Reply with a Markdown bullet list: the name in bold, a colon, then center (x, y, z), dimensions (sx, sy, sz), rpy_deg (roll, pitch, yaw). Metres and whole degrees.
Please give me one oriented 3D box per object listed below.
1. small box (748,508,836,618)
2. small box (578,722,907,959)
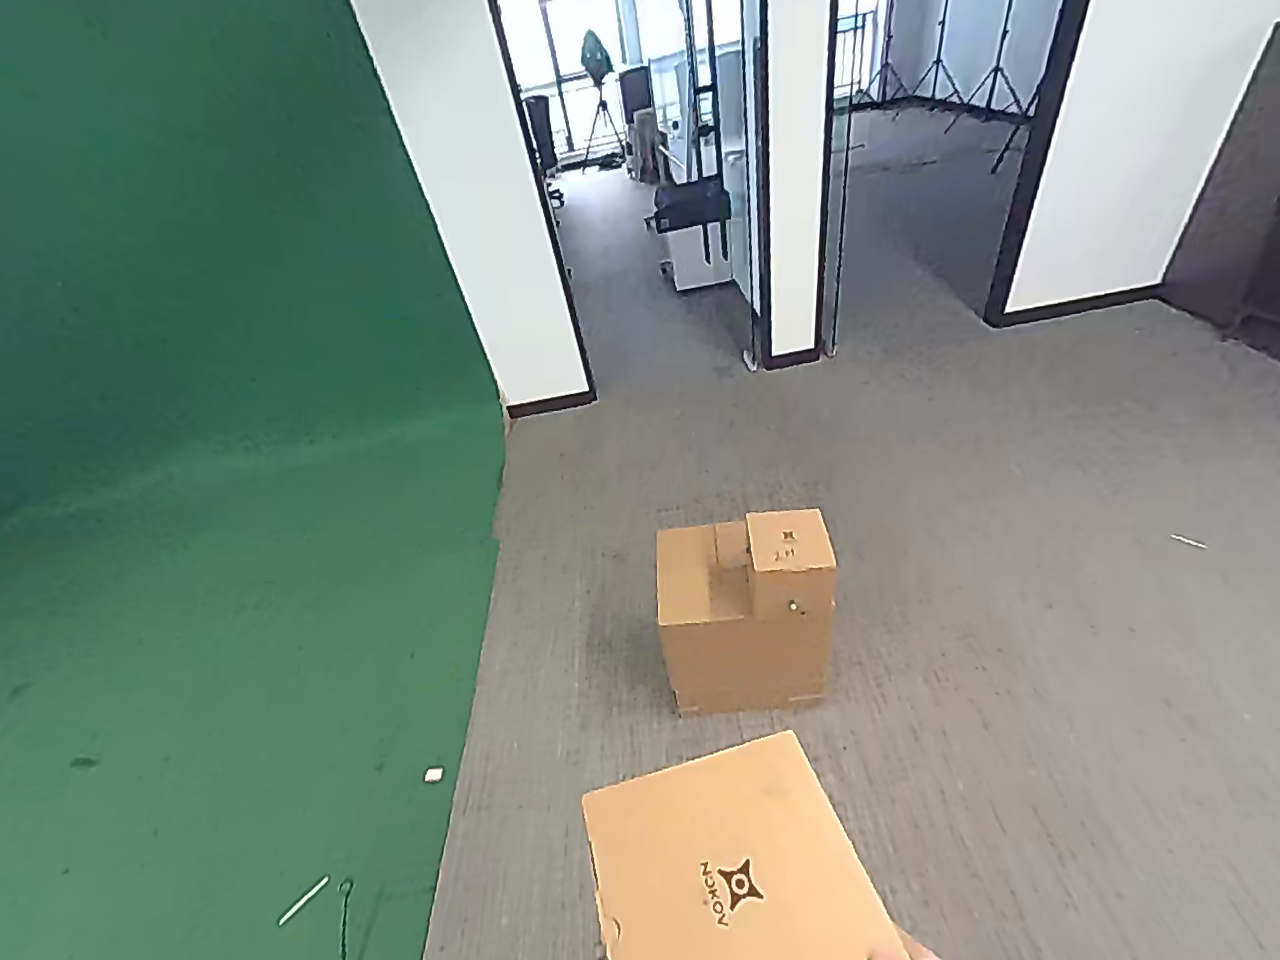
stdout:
- **small box**: center (0.330, 0.186, 1.205), dimensions (0.168, 0.176, 0.179), rpy_deg (-5, 39, 8)
- **small box**: center (0.060, 0.321, 0.410), dimensions (0.179, 0.176, 0.168), rpy_deg (-13, 39, -10)
